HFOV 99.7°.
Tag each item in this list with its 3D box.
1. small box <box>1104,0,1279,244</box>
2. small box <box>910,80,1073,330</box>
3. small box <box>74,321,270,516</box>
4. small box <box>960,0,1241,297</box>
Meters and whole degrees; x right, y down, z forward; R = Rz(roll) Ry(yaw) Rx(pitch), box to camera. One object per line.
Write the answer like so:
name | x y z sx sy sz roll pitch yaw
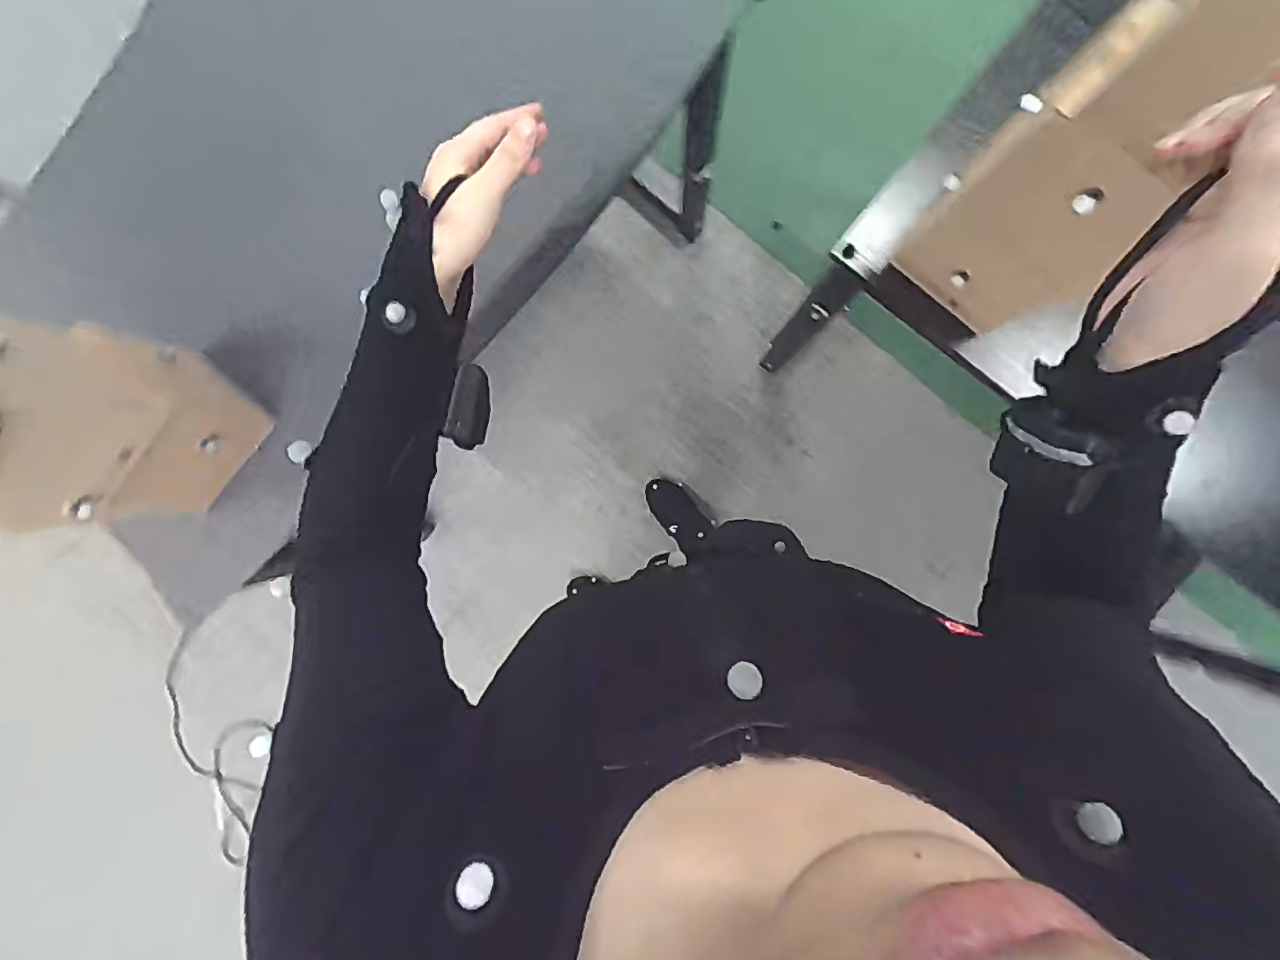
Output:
small box | 0.449 -0.286 0.332 0.168 0.176 0.179 42 93 2
small box | 0.465 -0.312 0.658 0.168 0.176 0.179 41 92 1
small box | -0.644 -0.073 0.719 0.168 0.176 0.179 40 92 4
small box | 0.451 -0.294 0.496 0.179 0.176 0.168 41 93 2
